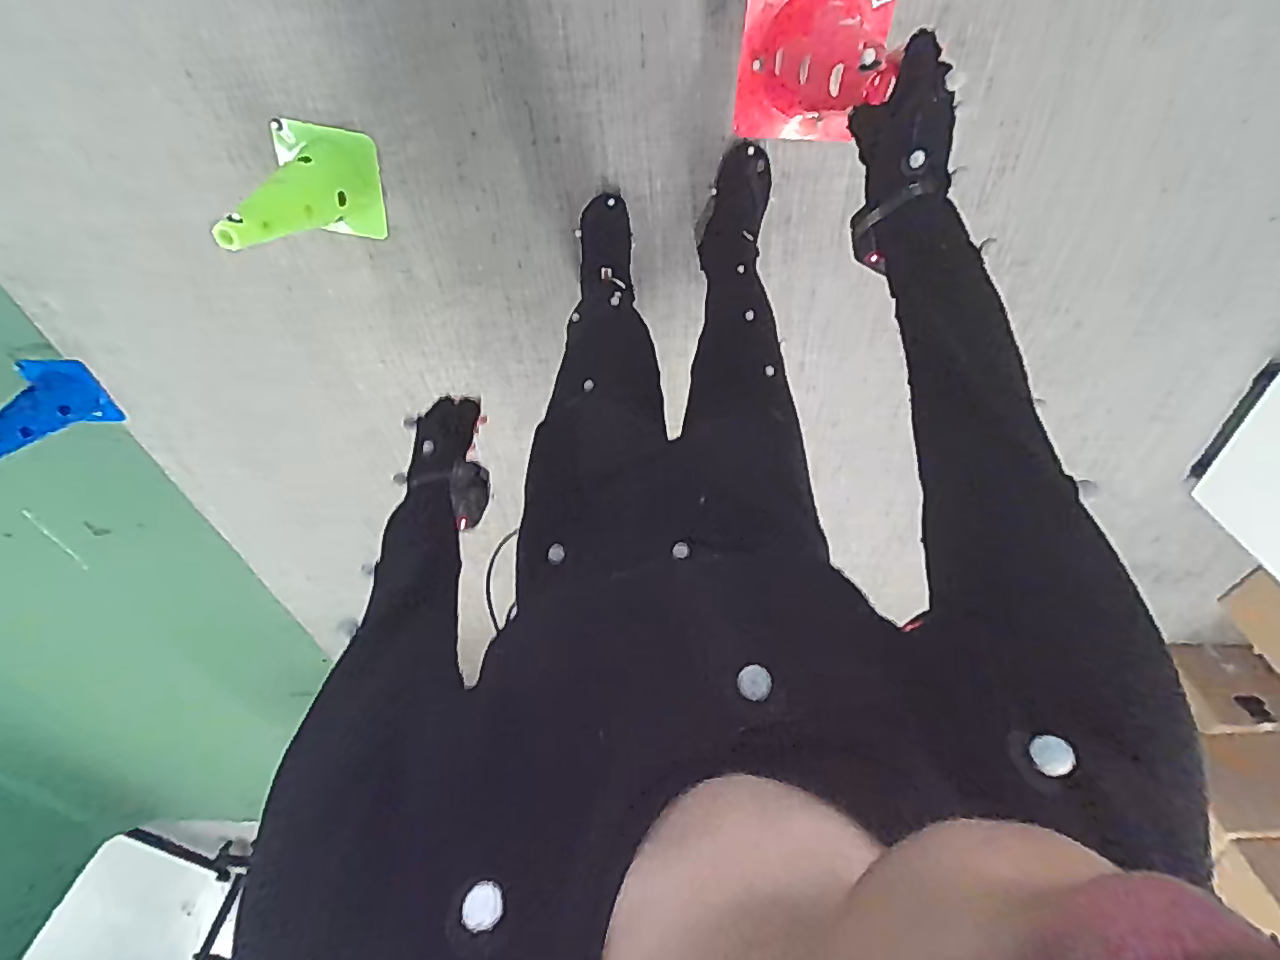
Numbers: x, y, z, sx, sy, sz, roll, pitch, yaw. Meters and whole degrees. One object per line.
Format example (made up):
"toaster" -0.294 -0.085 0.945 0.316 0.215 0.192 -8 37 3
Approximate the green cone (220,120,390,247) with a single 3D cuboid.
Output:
"green cone" -0.640 -0.502 0.990 0.202 0.368 0.200 8 131 -3
